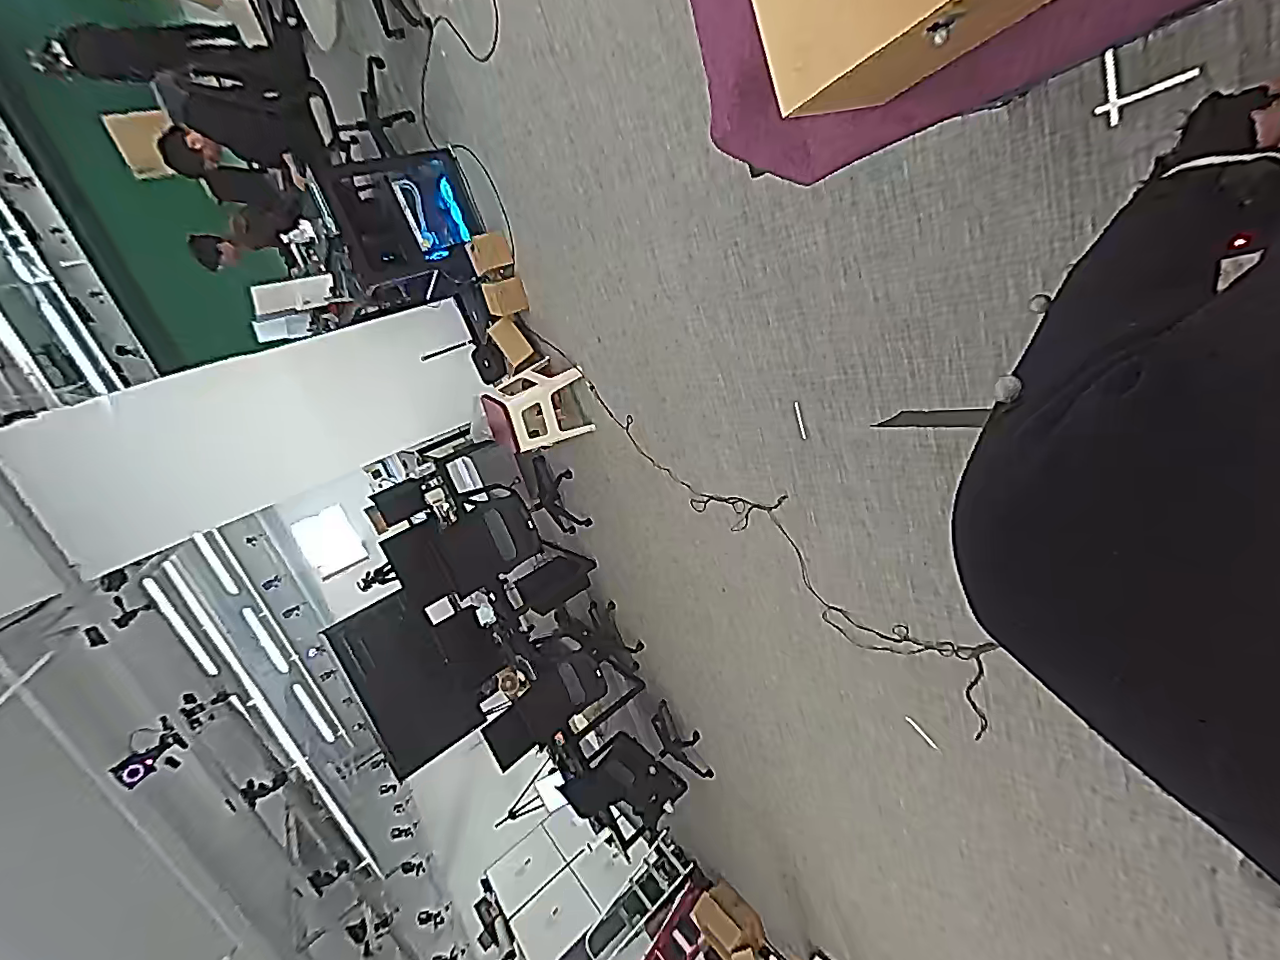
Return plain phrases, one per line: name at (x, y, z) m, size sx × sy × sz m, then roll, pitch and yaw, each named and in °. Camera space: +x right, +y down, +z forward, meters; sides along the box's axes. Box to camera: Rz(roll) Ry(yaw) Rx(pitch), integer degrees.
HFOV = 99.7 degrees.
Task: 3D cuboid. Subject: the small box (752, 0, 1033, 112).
small box at (0.217, -0.454, 0.467) m, size 0.179 × 0.176 × 0.168 m, roll 1°, pitch 115°, yaw 57°
